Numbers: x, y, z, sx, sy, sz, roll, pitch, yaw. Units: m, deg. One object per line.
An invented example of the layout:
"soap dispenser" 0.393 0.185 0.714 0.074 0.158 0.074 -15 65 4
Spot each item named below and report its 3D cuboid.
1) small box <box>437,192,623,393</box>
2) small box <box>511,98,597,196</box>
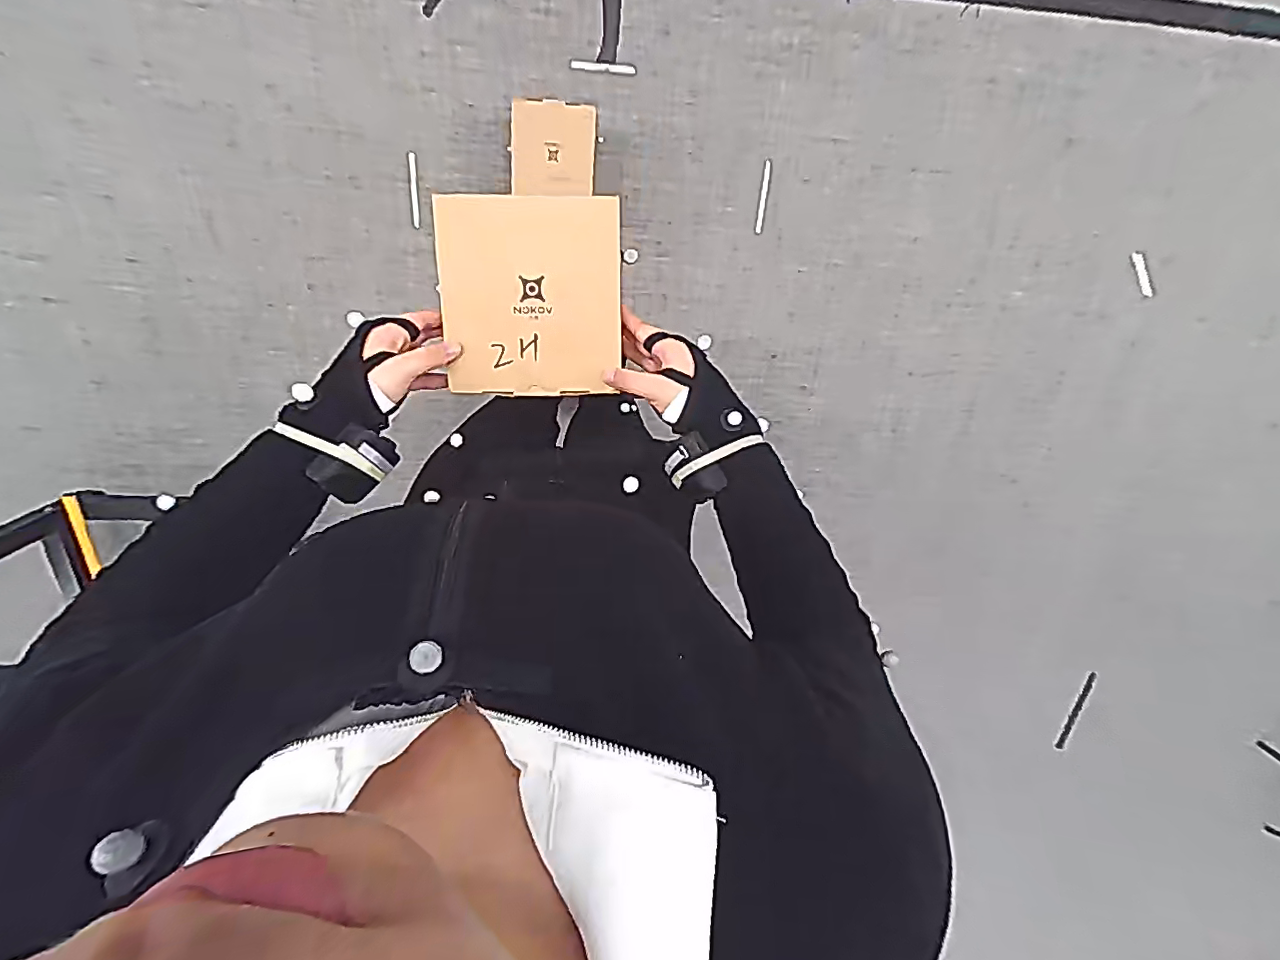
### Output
"small box" -0.103 -0.188 0.574 0.168 0.176 0.179 -1 106 -3
"small box" -0.178 -0.676 1.142 0.168 0.176 0.179 3 114 -4
